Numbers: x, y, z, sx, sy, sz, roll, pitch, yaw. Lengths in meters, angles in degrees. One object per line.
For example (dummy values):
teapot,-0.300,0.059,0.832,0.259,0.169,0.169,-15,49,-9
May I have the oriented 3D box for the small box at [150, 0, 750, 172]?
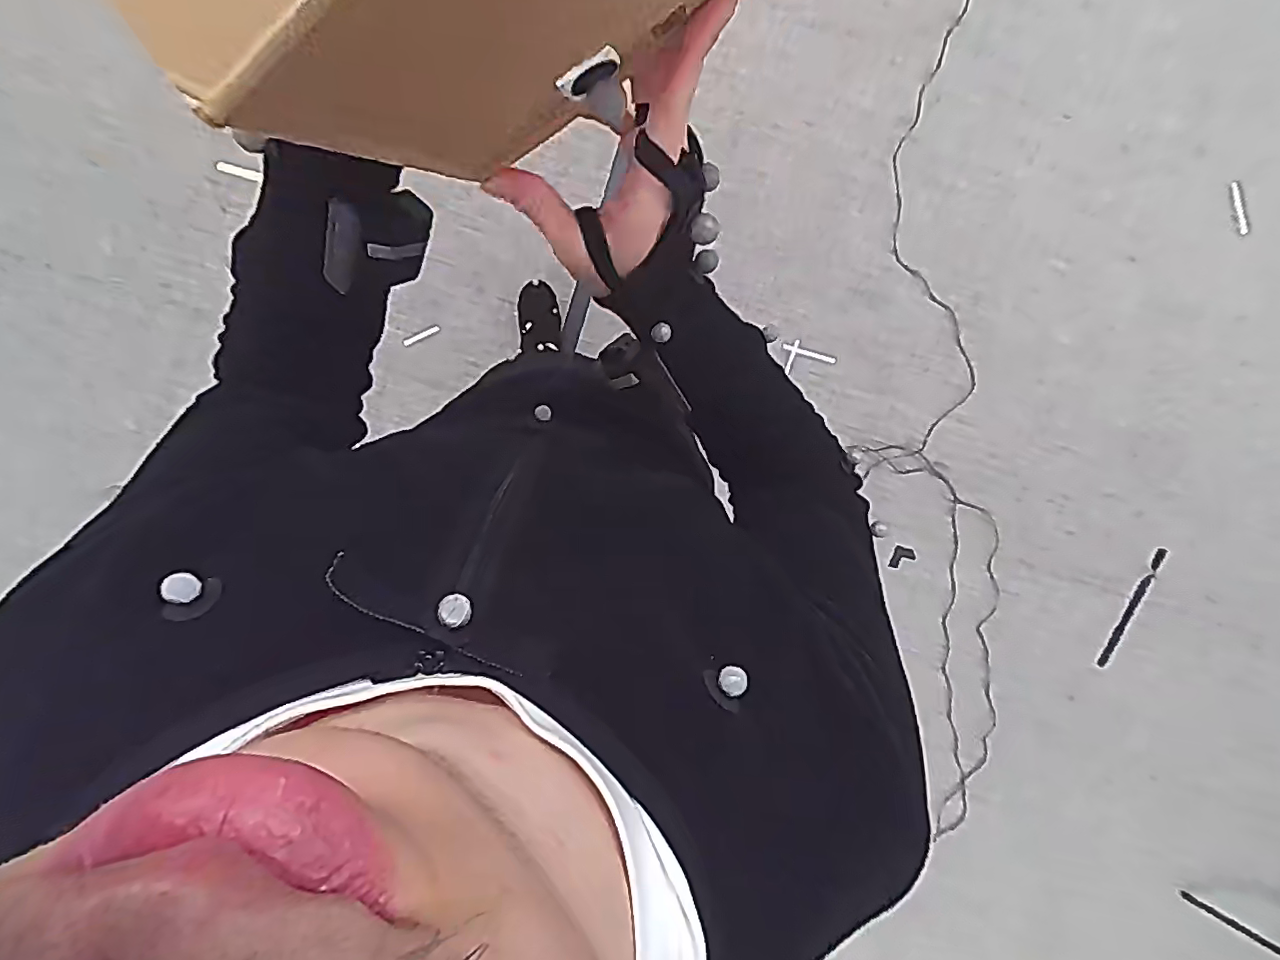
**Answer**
small box,-0.058,-0.221,0.152,0.168,0.176,0.179,-27,108,19
